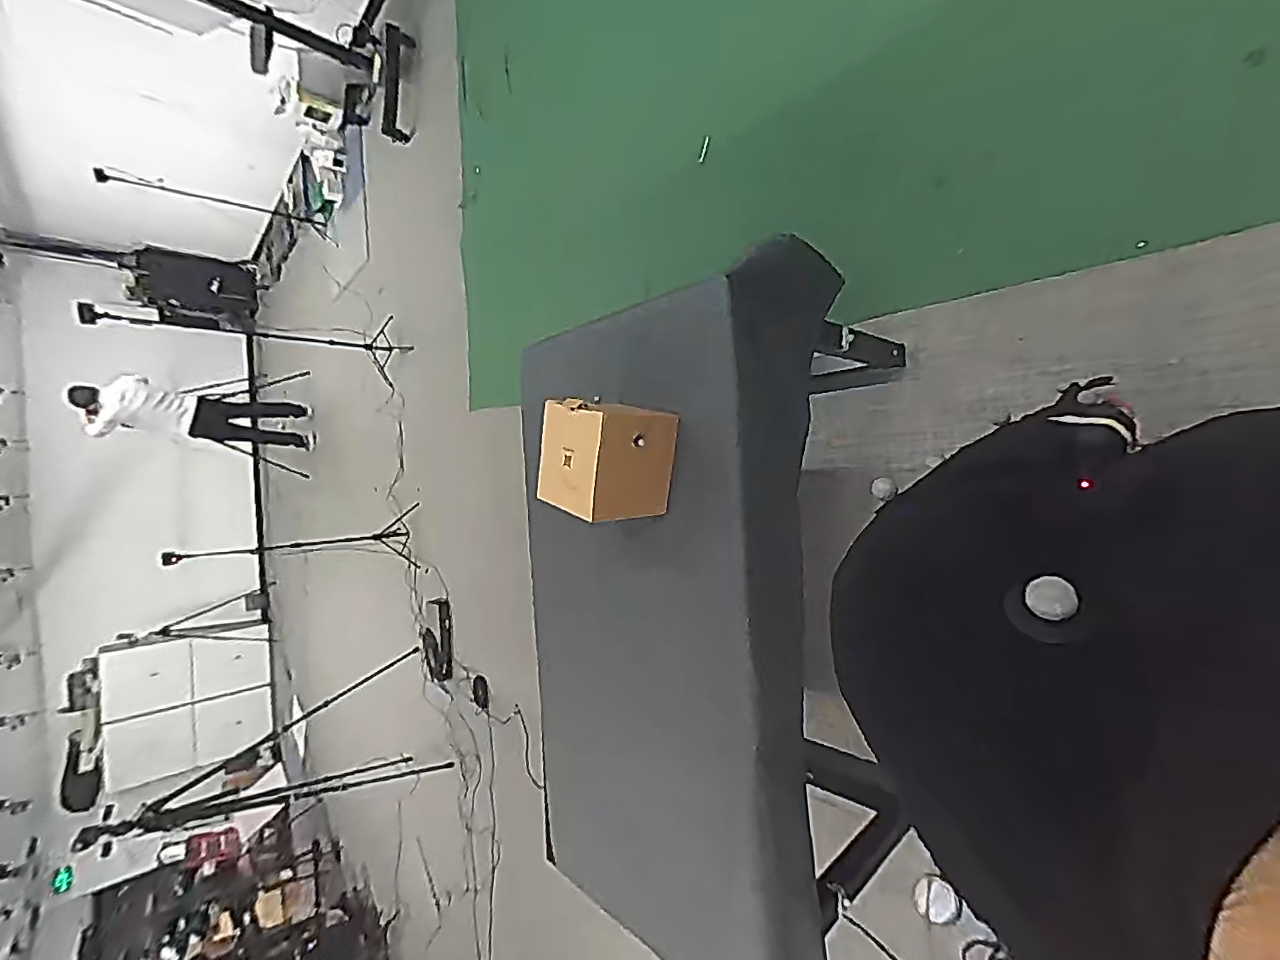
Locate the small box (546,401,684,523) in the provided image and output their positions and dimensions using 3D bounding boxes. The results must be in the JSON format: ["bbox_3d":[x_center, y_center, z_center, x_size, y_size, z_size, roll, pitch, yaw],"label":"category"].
[{"bbox_3d":[-0.042,-0.038,0.936,0.168,0.176,0.179,18,107,47],"label":"small box"}]
